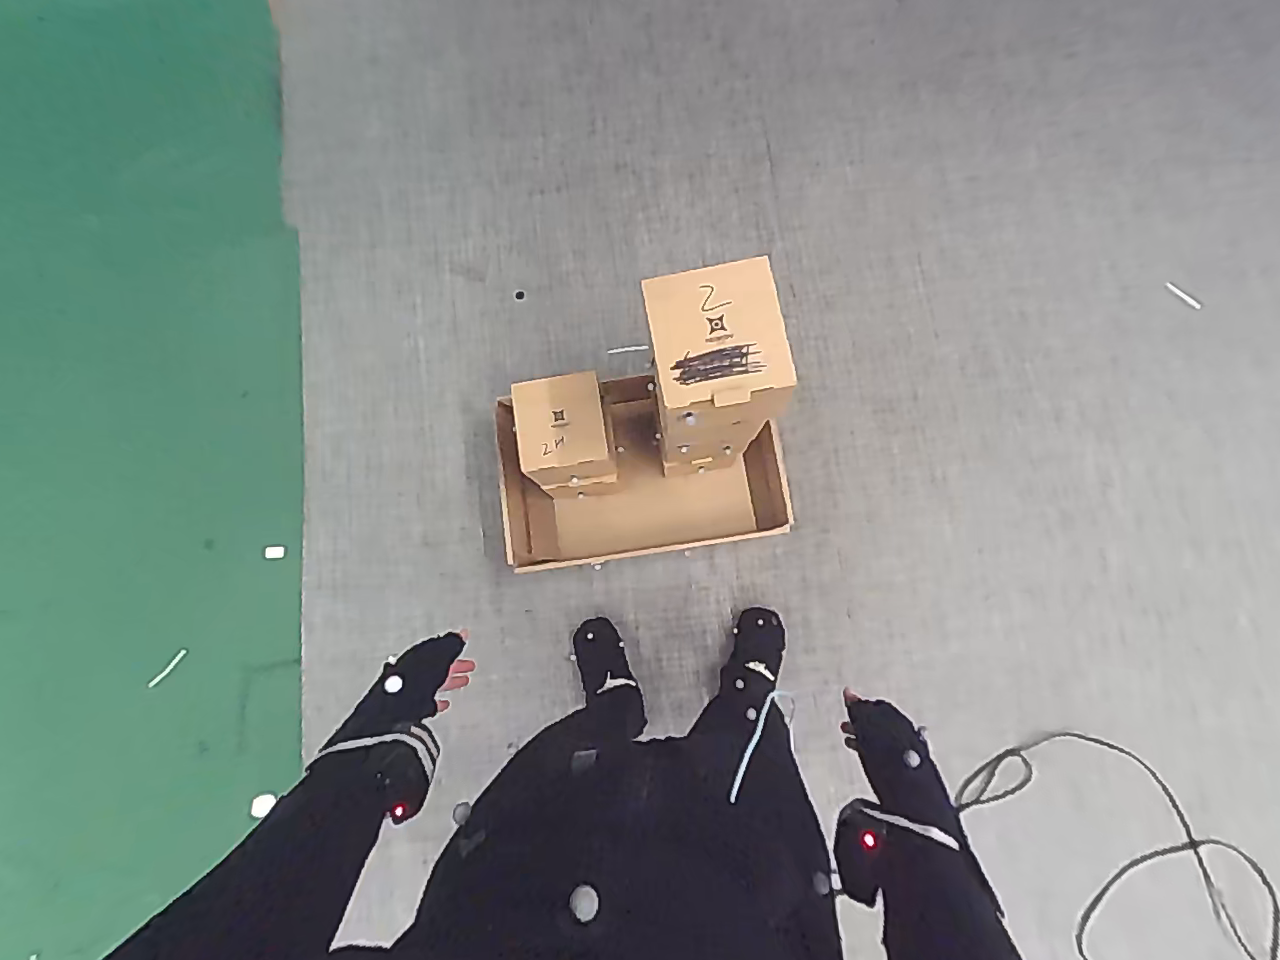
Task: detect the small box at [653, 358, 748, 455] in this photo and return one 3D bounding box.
[{"bbox_3d":[0.122,-0.151,1.058,0.168,0.176,0.179,-8,81,2],"label":"small box"}]

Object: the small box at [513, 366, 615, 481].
[{"bbox_3d":[-0.145,-0.106,1.081,0.168,0.176,0.179,-9,81,1],"label":"small box"}]

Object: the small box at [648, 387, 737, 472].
[{"bbox_3d":[0.120,-0.122,1.238,0.168,0.176,0.179,-13,81,3],"label":"small box"}]

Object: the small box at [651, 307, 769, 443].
[{"bbox_3d":[0.112,-0.165,0.912,0.168,0.176,0.179,-7,81,2],"label":"small box"}]
